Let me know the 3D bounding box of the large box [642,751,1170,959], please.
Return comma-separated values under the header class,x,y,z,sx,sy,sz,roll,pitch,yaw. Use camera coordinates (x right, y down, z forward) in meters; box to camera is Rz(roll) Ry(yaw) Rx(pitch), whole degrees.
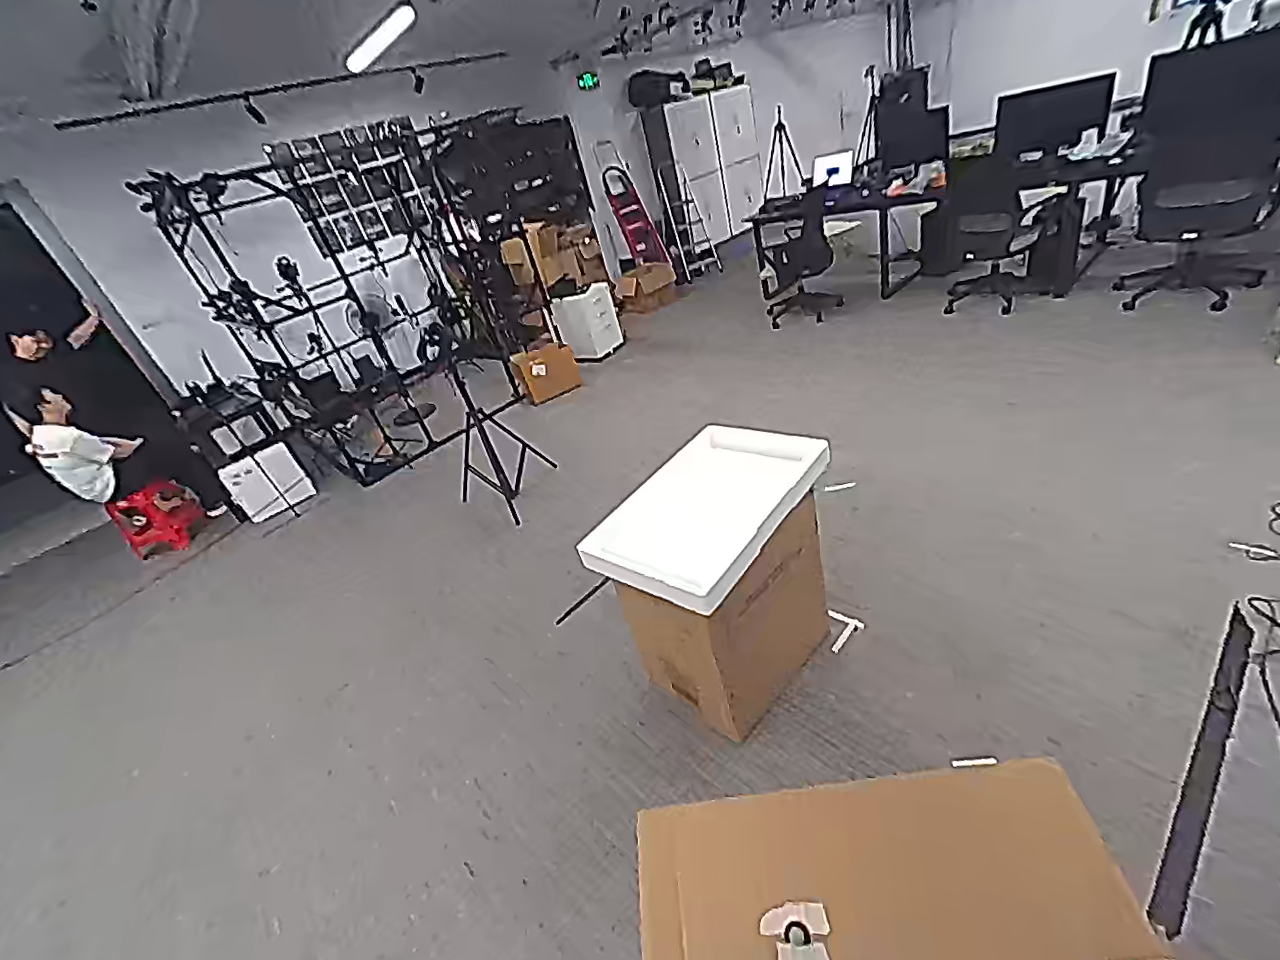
class,x,y,z,sx,sy,sz,roll,pitch,yaw
large box,0.242,0.502,0.527,0.408,0.320,0.320,-13,45,8
